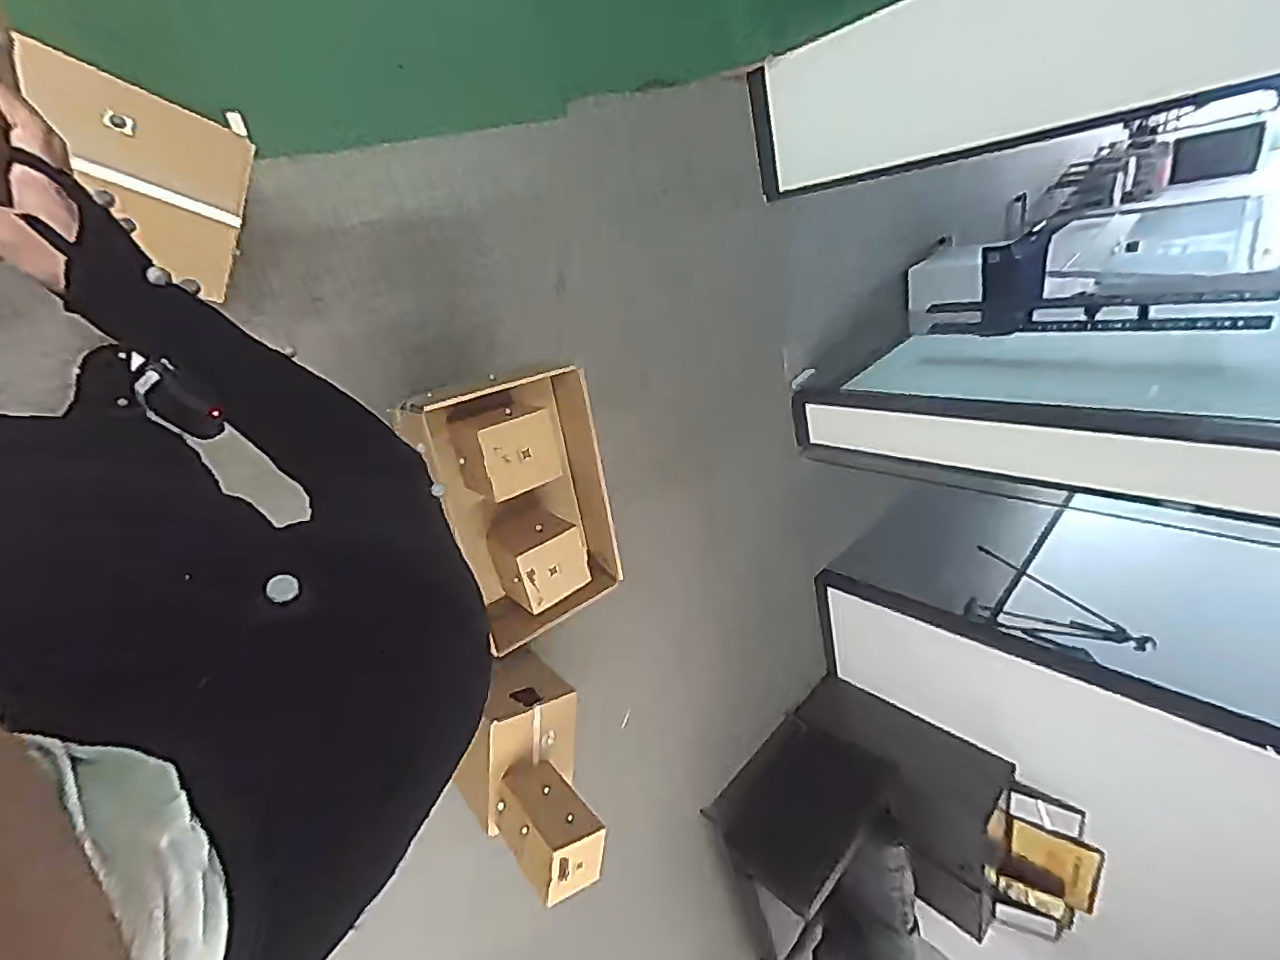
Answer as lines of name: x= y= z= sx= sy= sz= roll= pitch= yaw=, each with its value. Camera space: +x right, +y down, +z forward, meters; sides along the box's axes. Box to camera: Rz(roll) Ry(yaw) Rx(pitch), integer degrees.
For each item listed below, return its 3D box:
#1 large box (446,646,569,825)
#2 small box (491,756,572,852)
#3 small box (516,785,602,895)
large box: x=-0.460 y=0.855 z=1.865 sx=0.320 sy=0.320 sz=0.408 roll=-7 pitch=105 yaw=-41
small box: x=-0.338 y=0.994 z=1.678 sx=0.179 sy=0.176 sz=0.168 roll=2 pitch=99 yaw=-40
small box: x=-0.237 y=1.022 z=1.552 sx=0.179 sy=0.176 sz=0.168 roll=3 pitch=99 yaw=-42
